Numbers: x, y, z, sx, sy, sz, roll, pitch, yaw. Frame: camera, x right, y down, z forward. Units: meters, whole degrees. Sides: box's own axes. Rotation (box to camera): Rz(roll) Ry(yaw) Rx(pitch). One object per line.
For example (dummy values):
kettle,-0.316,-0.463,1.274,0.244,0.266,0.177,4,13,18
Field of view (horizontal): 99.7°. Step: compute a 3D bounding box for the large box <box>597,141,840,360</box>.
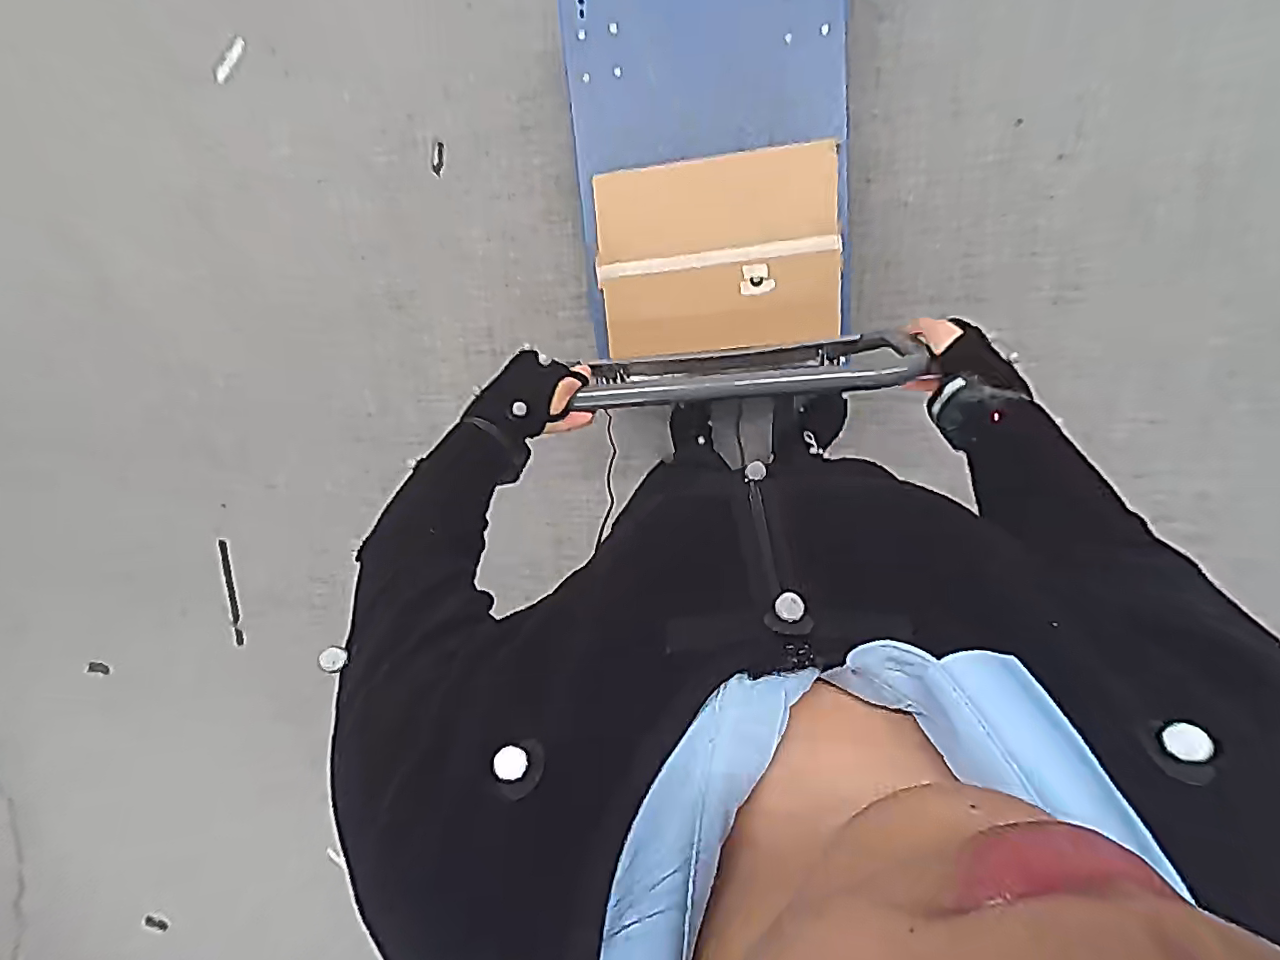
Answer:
large box,0.156,-0.415,1.075,0.408,0.320,0.320,-3,103,10
